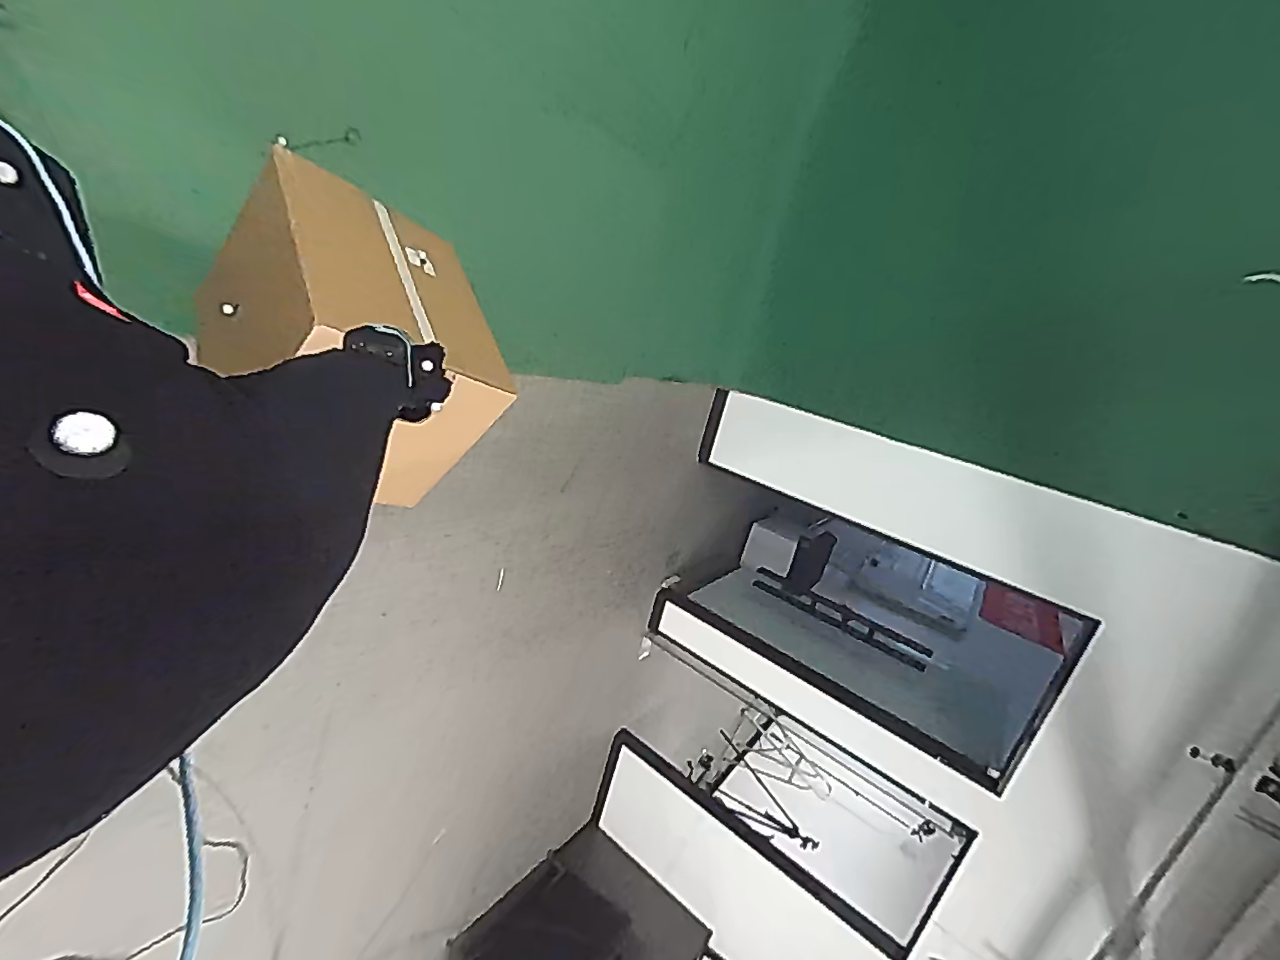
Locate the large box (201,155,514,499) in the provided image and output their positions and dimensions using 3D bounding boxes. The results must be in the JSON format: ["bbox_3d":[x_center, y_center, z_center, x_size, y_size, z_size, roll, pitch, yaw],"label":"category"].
[{"bbox_3d":[-0.480,-0.222,0.901,0.320,0.408,0.320,-41,151,22],"label":"large box"}]
